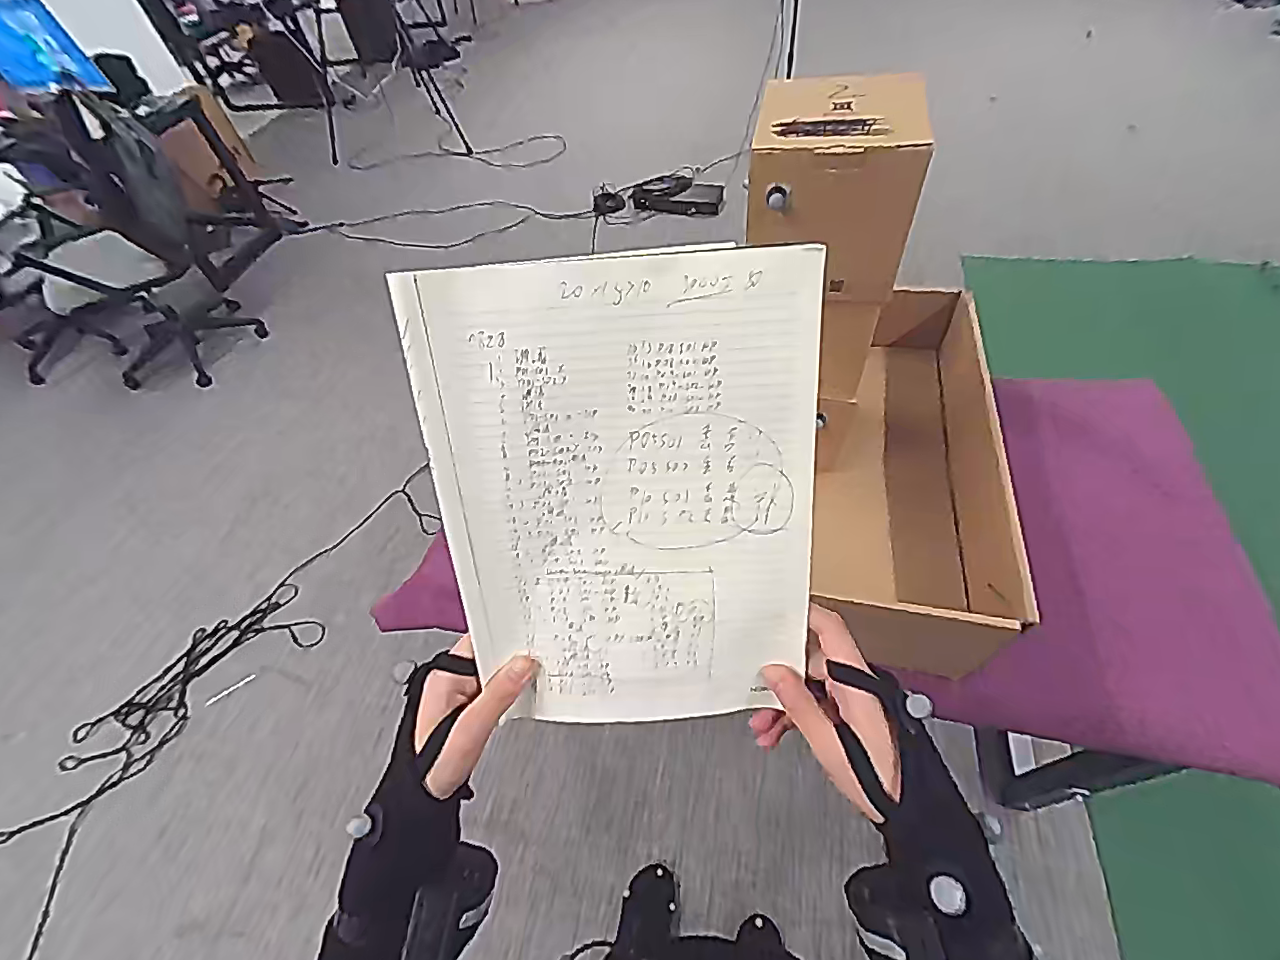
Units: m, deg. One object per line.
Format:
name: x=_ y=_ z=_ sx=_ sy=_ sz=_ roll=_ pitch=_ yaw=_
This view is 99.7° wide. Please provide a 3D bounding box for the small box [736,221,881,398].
small box: x=0.230 y=-0.235 z=0.755 sx=0.168 sy=0.176 sz=0.179 roll=9 pitch=55 yaw=14
